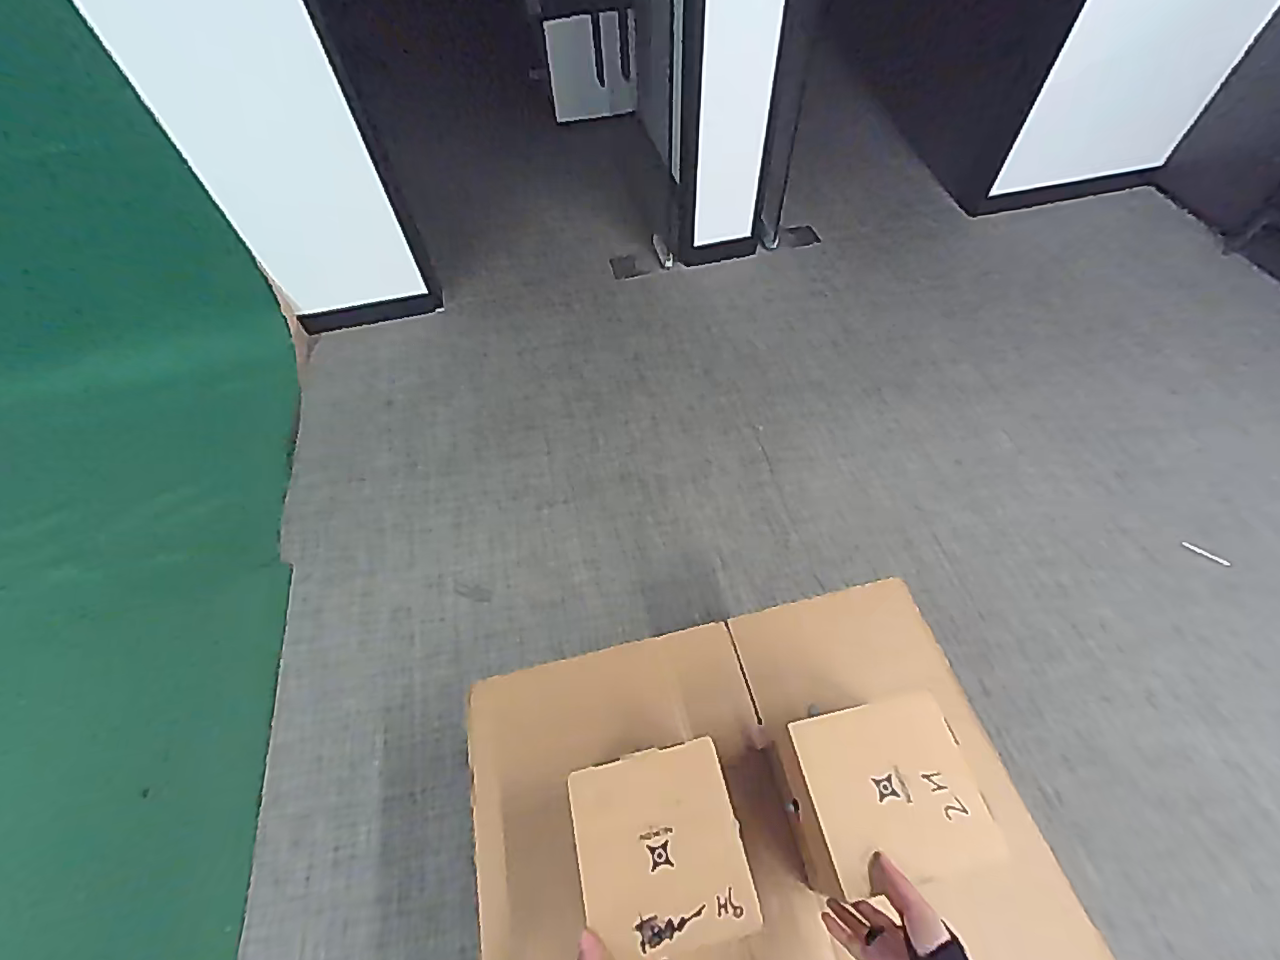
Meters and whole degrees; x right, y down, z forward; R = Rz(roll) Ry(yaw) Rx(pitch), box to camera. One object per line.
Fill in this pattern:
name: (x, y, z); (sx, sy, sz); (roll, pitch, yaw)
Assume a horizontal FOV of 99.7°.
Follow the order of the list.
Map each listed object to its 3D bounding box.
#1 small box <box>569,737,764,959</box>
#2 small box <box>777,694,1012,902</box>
small box: (0.024, 0.416, 0.608); (0.168, 0.176, 0.179); (-13, 55, -4)
small box: (0.269, 0.368, 0.628); (0.179, 0.176, 0.168); (-11, 56, -3)
